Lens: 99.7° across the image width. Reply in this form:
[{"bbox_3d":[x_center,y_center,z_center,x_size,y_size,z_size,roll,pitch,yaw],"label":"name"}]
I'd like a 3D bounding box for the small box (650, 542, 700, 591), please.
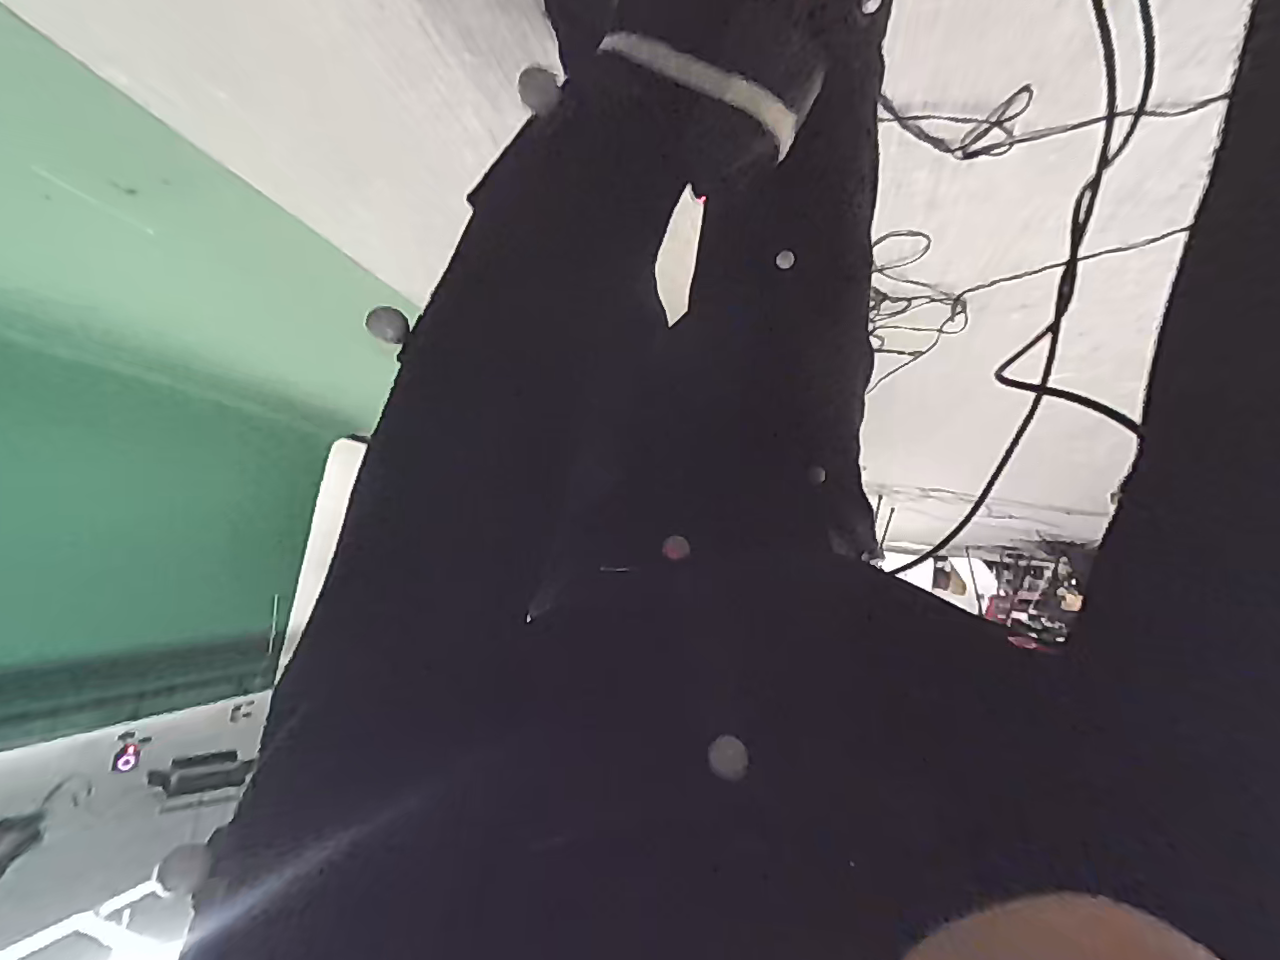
[{"bbox_3d":[0.144,0.342,2.161,0.168,0.176,0.179,9,174,13],"label":"small box"}]
